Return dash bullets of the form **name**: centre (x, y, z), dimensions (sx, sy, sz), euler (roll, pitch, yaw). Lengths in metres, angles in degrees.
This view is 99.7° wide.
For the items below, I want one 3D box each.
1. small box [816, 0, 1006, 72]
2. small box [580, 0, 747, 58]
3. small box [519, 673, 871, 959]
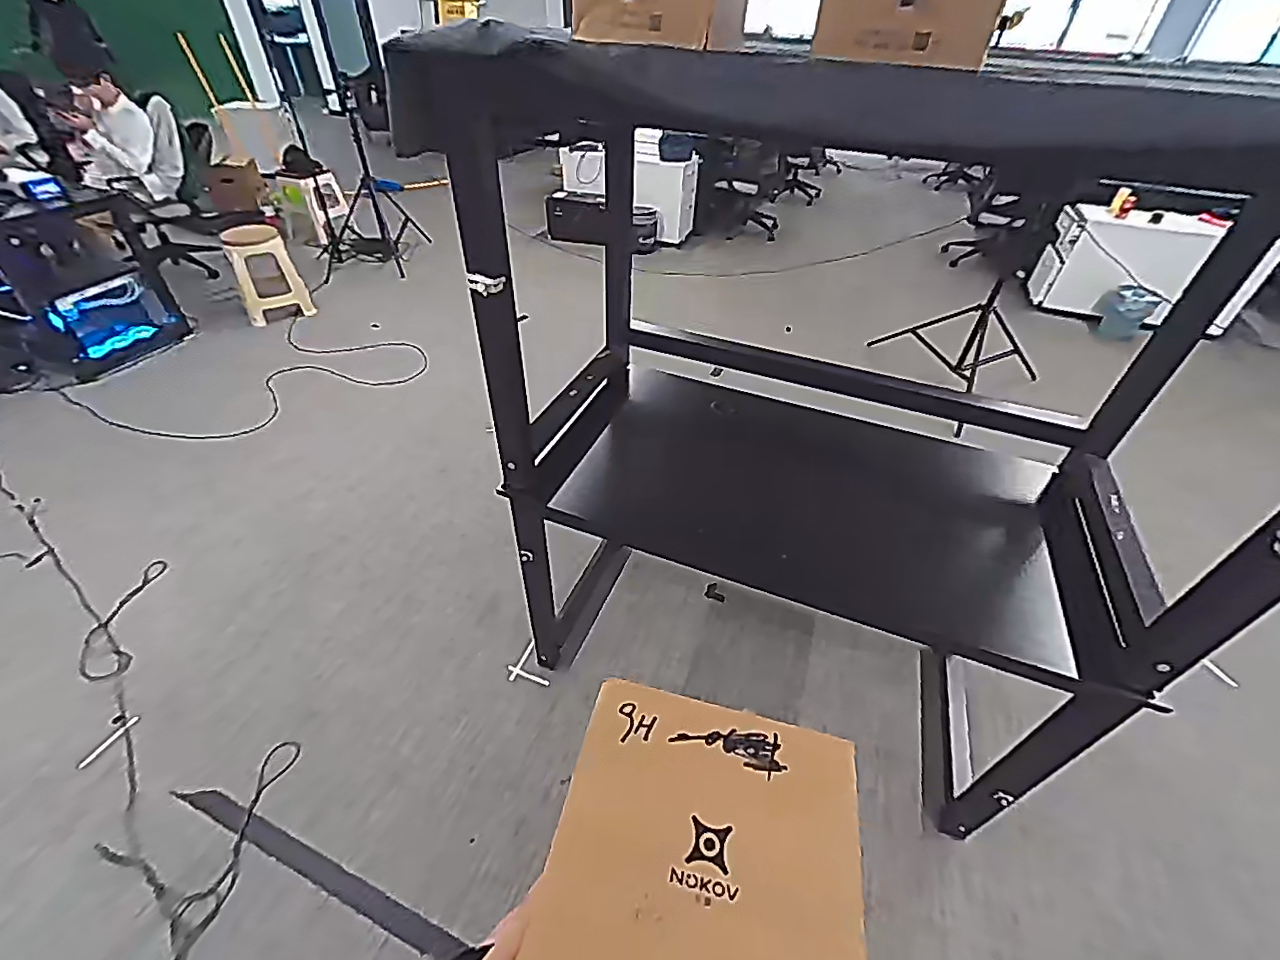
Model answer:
- **small box**: centre (0.288, -0.527, 0.546), dimensions (0.168, 0.176, 0.179), euler (17, 41, 15)
- **small box**: centre (0.034, -0.601, 0.619), dimensions (0.168, 0.176, 0.179), euler (17, 42, 14)
- **small box**: centre (0.032, 0.257, 0.340), dimensions (0.168, 0.176, 0.179), euler (13, 45, 6)
